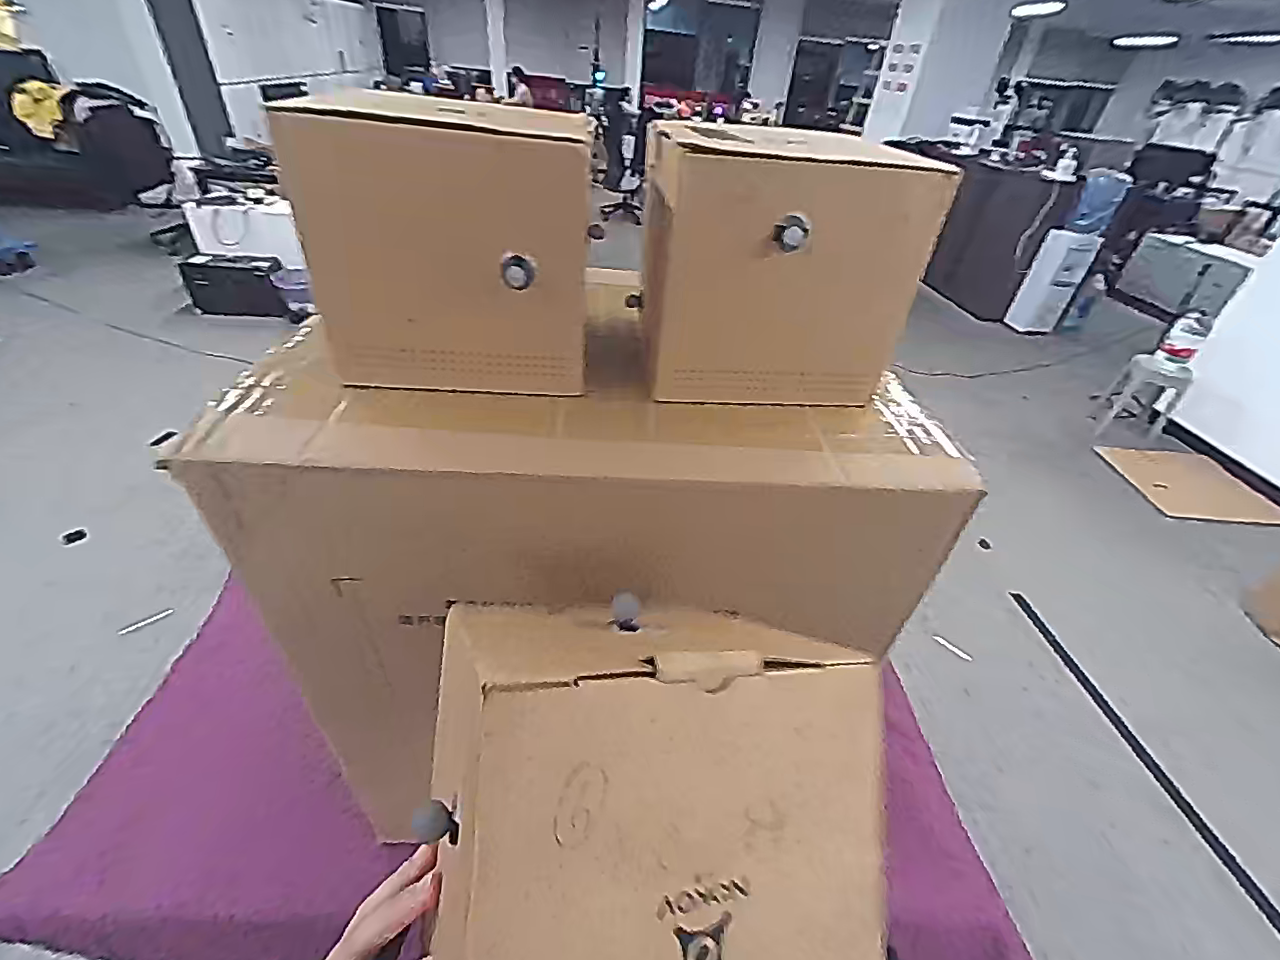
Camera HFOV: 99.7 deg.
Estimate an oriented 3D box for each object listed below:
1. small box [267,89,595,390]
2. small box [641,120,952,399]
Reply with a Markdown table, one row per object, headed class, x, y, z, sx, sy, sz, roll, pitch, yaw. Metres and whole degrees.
| class | x | y | z | sx | sy | sz | roll | pitch | yaw |
| --- | --- | --- | --- | --- | --- | --- | --- | --- | --- |
| small box | -0.127 | -0.179 | 0.408 | 0.179 | 0.176 | 0.168 | 1 | 37 | -7 |
| small box | 0.095 | -0.176 | 0.431 | 0.179 | 0.176 | 0.168 | 0 | 38 | -7 |
